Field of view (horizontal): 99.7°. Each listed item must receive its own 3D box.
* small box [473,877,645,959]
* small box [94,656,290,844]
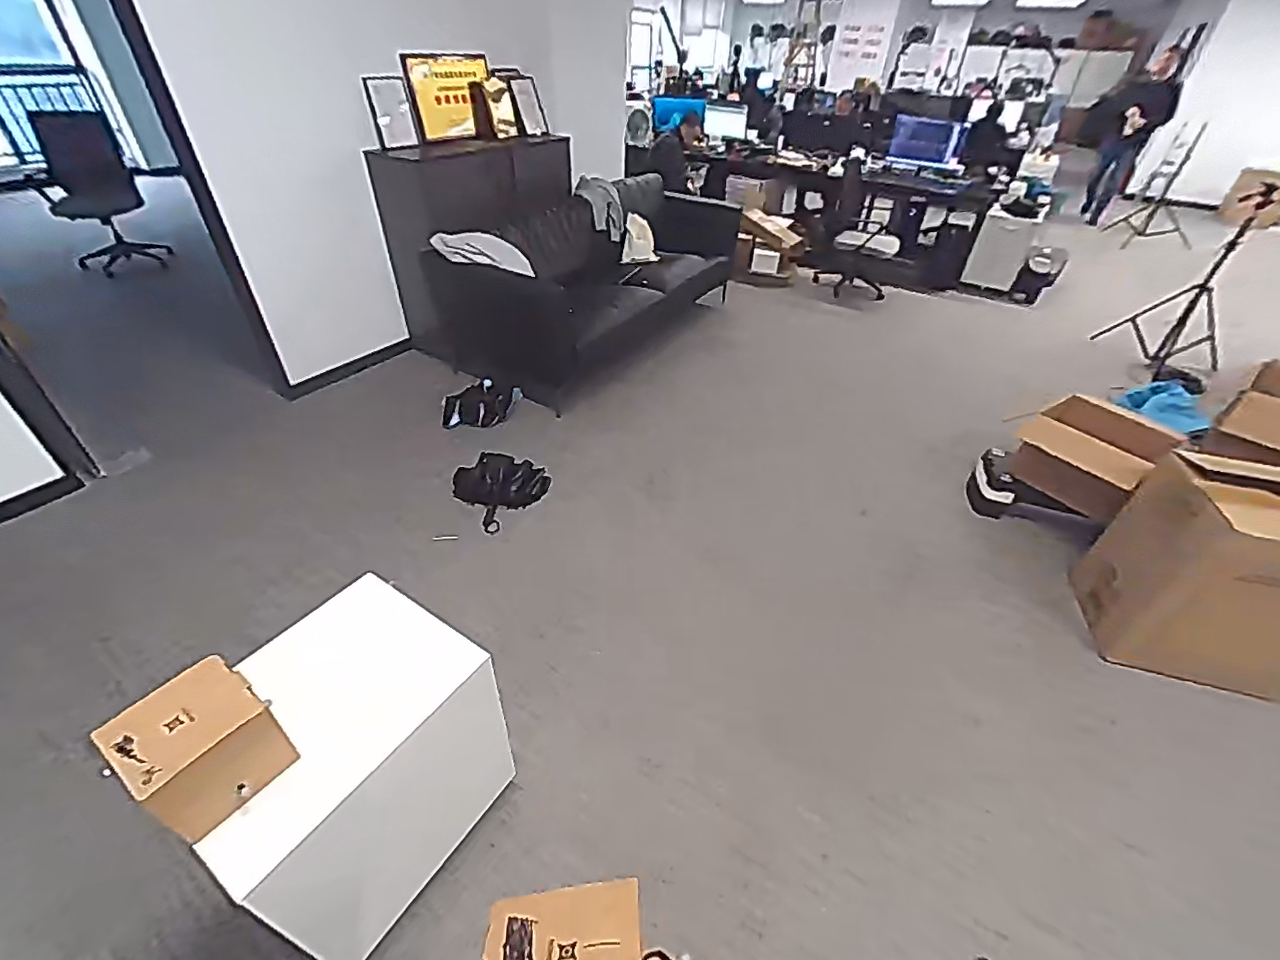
[{"bbox_3d":[-0.080,0.574,0.572,0.179,0.176,0.168,-8,4,-2],"label":"small box"},{"bbox_3d":[-0.703,0.432,0.873,0.168,0.176,0.179,25,42,25],"label":"small box"}]
